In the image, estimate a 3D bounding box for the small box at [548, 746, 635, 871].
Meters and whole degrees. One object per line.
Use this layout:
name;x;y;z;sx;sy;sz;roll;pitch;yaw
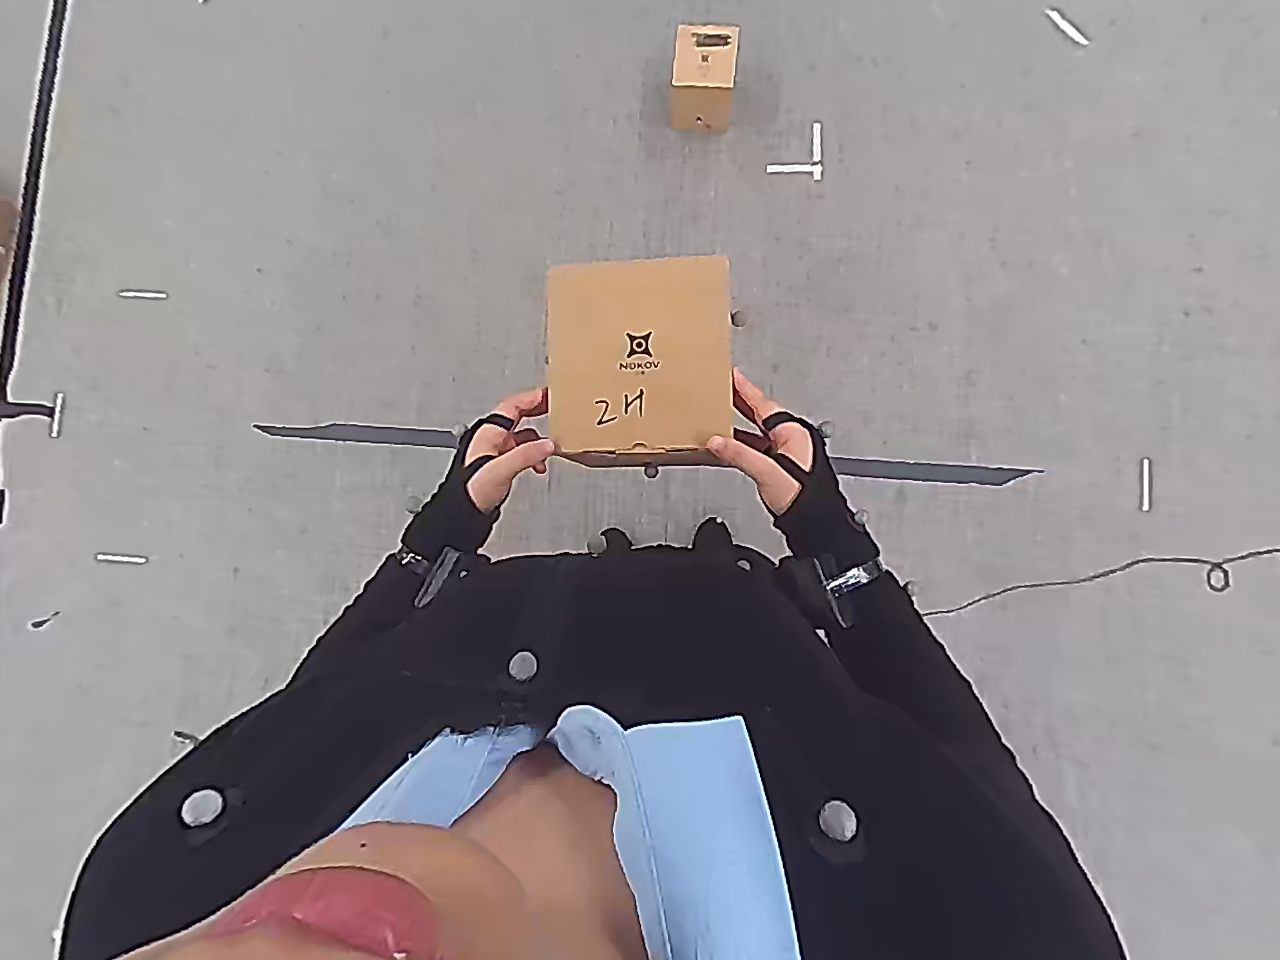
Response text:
small box;-0.100;0.716;1.195;0.168;0.176;0.179;1;85;3

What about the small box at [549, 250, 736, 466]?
small box;0.010;-0.110;0.553;0.168;0.176;0.179;-1;87;7
